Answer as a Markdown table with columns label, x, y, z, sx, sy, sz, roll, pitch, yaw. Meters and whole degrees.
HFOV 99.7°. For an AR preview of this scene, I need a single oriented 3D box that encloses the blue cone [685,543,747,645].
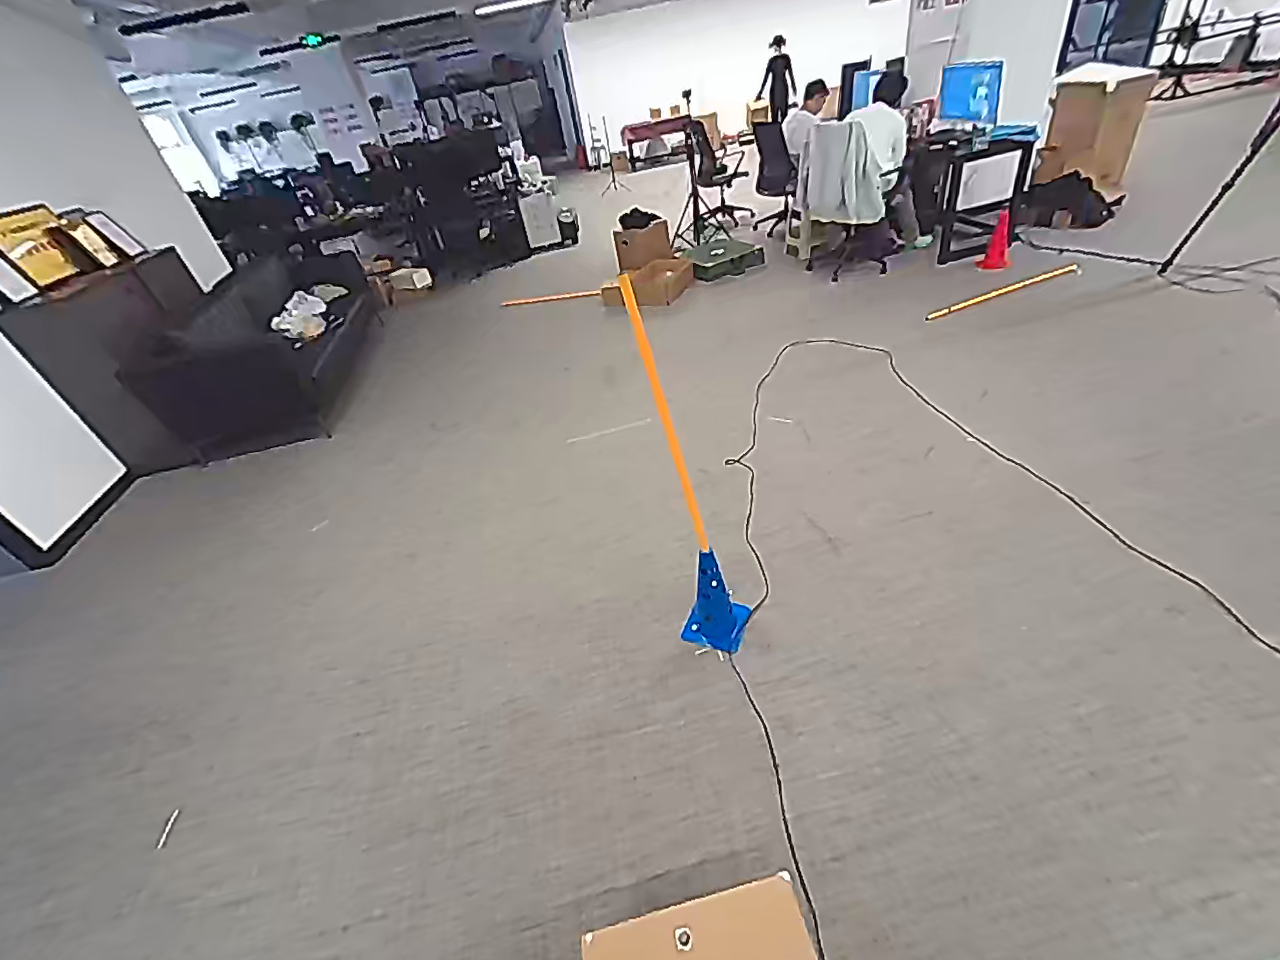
| label | x | y | z | sx | sy | sz | roll | pitch | yaw |
| --- | --- | --- | --- | --- | --- | --- | --- | --- | --- |
| blue cone | 0.231 | 0.350 | 1.752 | 0.192 | 0.380 | 0.193 | 5 | 41 | 24 |
